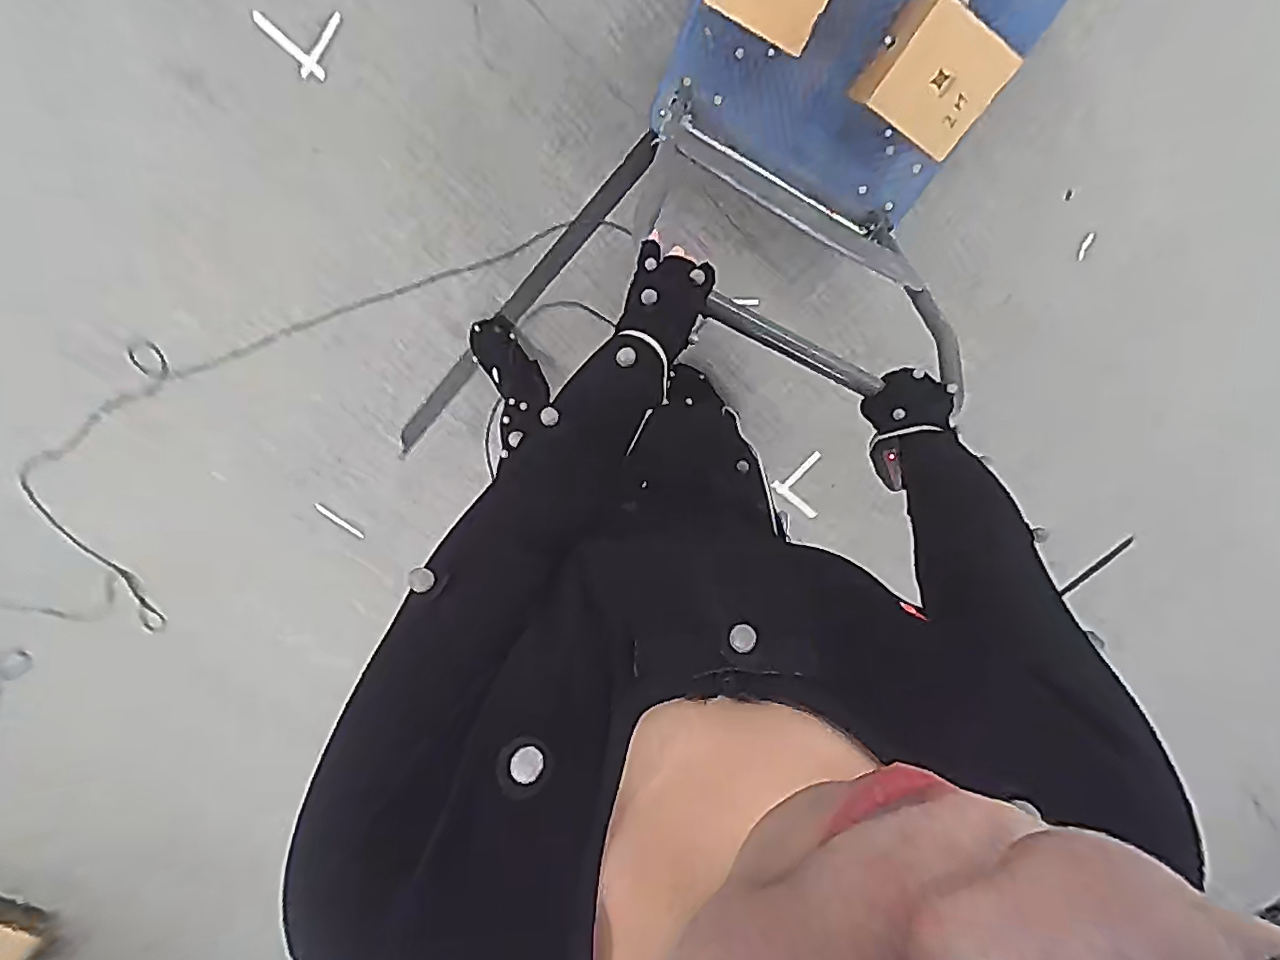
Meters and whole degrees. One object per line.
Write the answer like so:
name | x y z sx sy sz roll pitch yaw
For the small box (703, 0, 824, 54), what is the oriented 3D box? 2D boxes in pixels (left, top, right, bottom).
small box | 0.210 -0.820 0.866 0.179 0.176 0.168 20 129 -13

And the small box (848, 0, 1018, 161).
small box | 0.493 -0.696 0.940 0.179 0.176 0.168 26 128 -16
